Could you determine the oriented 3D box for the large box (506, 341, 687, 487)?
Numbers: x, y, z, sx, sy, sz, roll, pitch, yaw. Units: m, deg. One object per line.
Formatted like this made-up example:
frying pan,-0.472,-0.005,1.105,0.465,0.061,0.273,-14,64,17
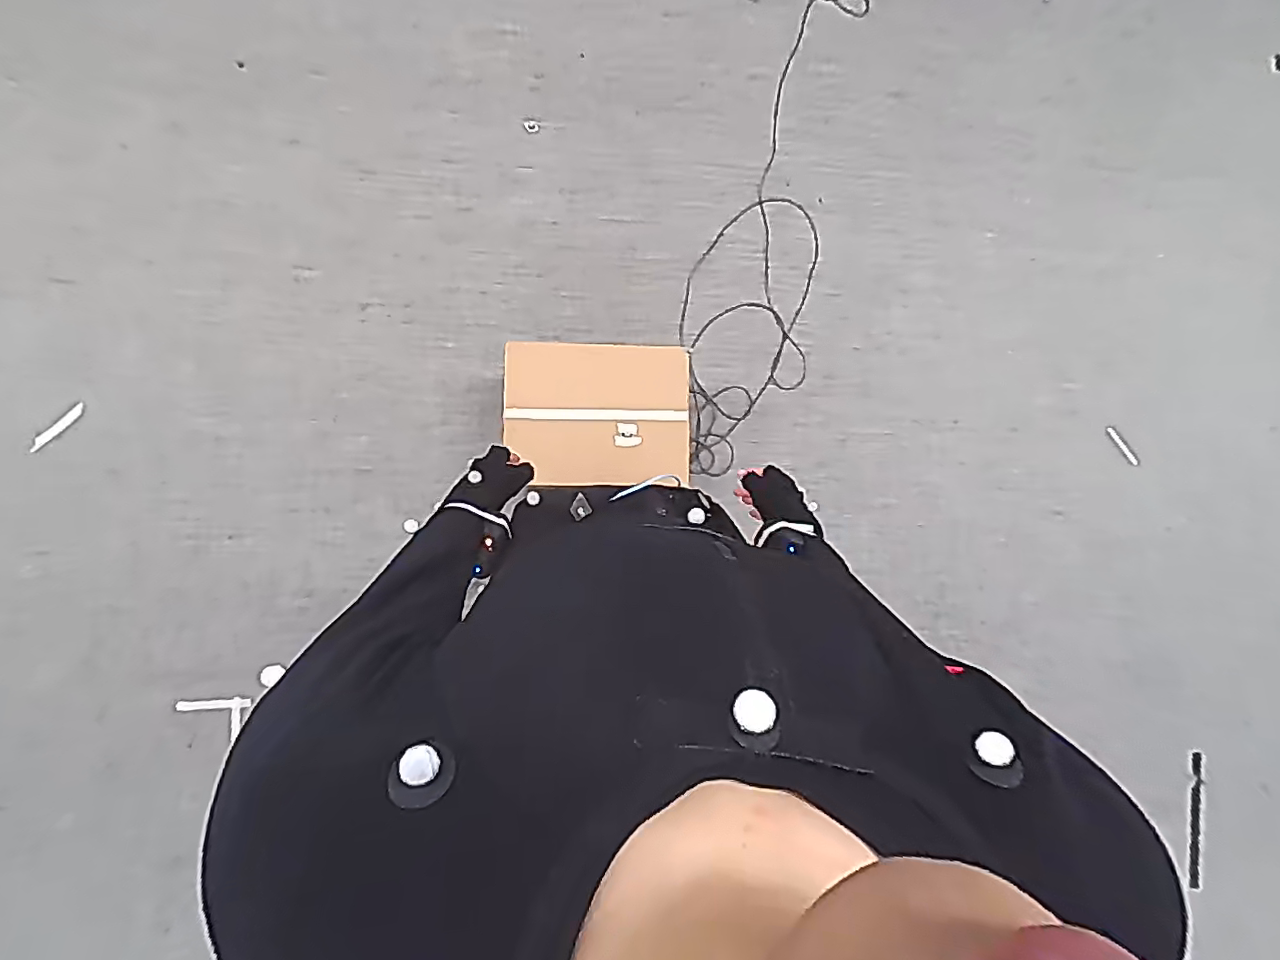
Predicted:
large box,-0.109,-0.143,1.341,0.408,0.320,0.320,1,88,-5
